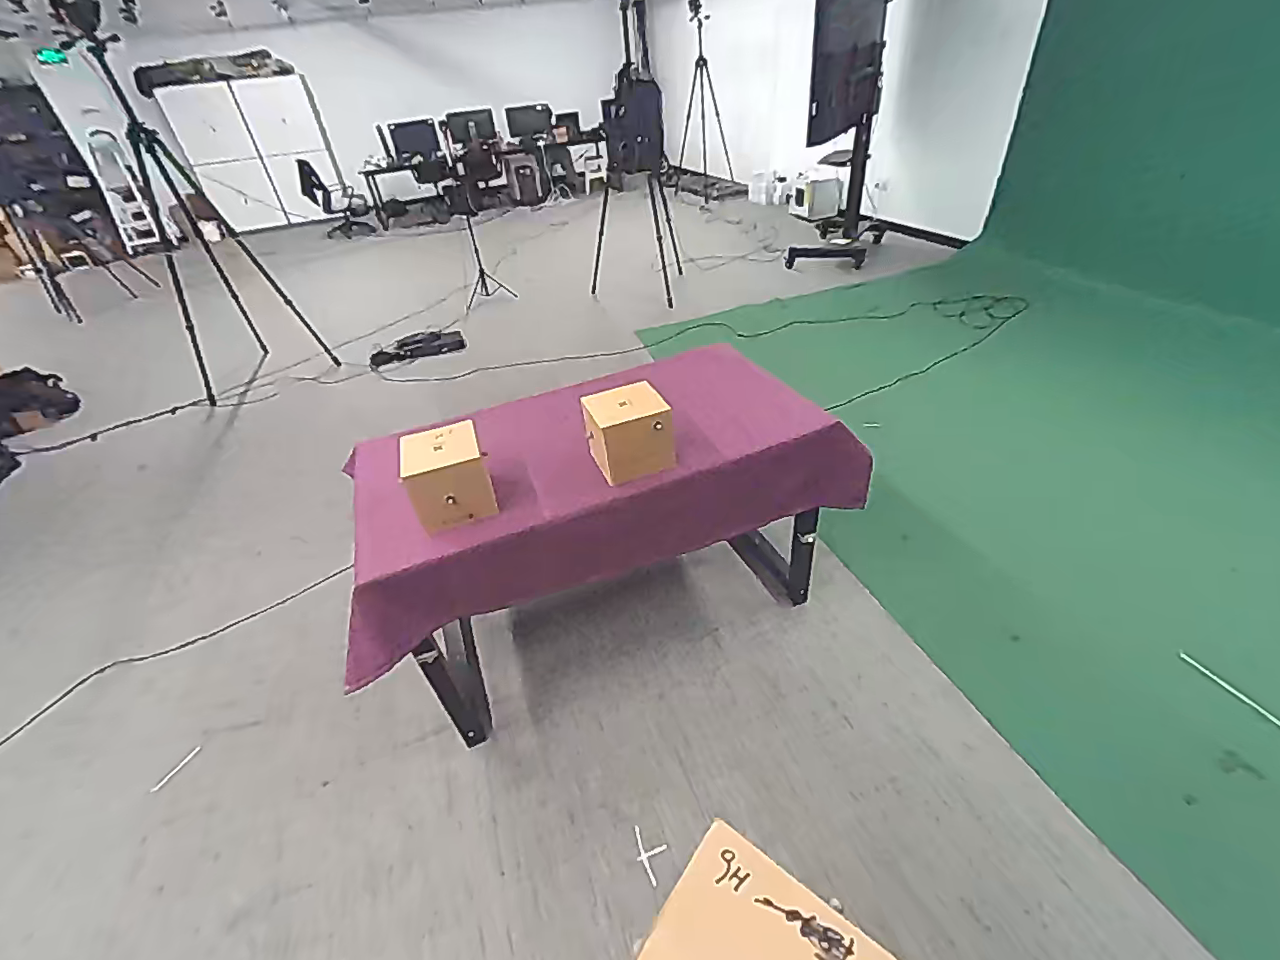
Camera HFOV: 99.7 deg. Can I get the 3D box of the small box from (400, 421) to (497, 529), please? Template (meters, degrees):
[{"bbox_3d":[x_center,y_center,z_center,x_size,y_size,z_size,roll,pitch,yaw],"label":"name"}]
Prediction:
[{"bbox_3d":[-0.435,-0.006,1.235,0.168,0.176,0.179,-16,38,-13],"label":"small box"}]

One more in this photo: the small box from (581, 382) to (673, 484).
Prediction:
[{"bbox_3d":[-0.028,-0.113,1.313,0.179,0.176,0.168,-17,38,-14],"label":"small box"}]
